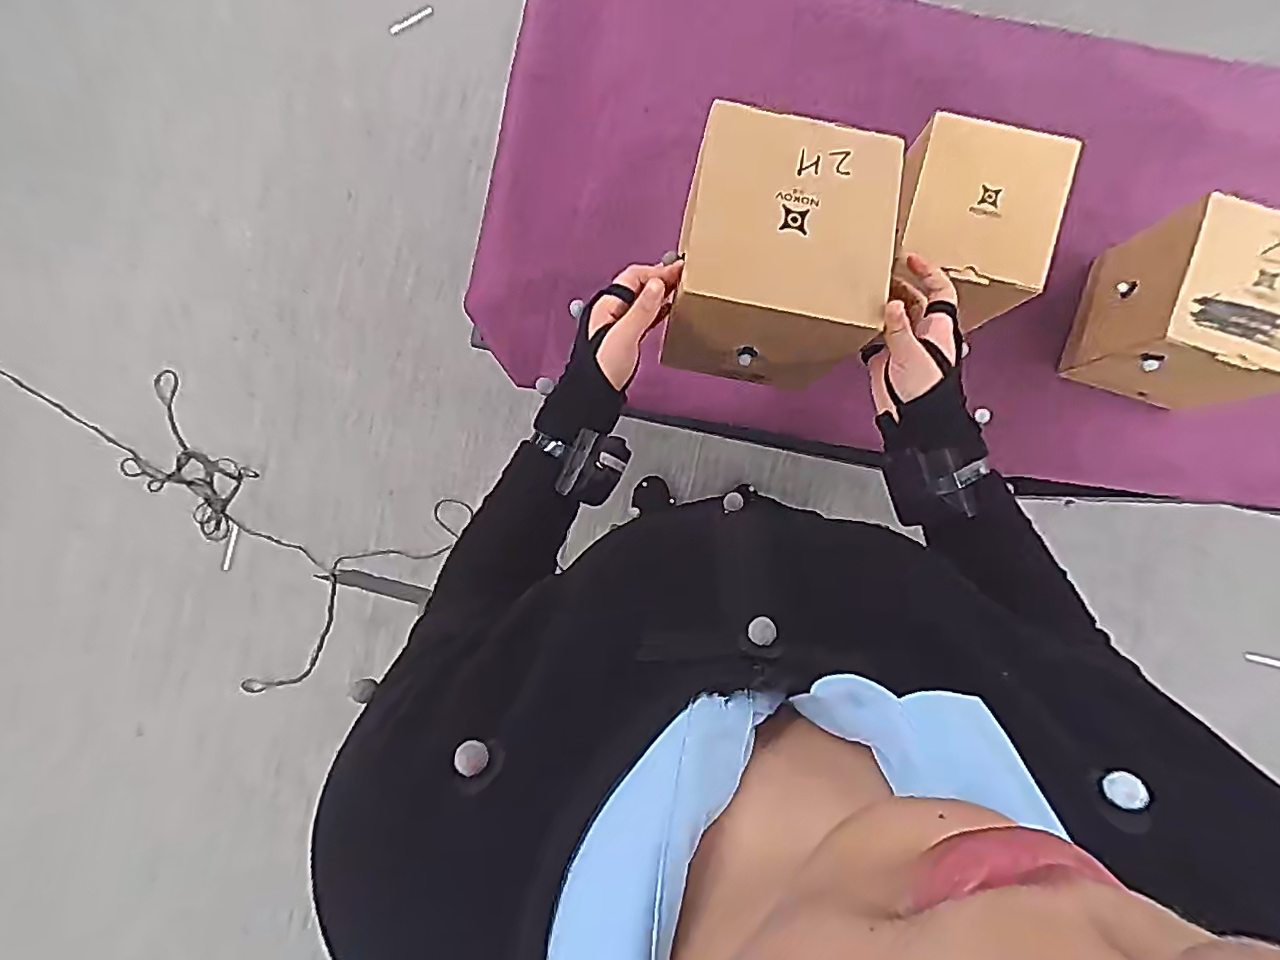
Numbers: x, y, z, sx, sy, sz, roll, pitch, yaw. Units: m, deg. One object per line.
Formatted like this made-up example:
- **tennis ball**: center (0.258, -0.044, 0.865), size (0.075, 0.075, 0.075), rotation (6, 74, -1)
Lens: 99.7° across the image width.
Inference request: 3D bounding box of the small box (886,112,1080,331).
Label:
- **small box**: center (0.396, -0.311, 0.686), size (0.168, 0.176, 0.179), rotation (14, 90, 3)

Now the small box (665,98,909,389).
- **small box**: center (0.122, -0.202, 0.511), size (0.168, 0.176, 0.179), rotation (11, 80, -3)
